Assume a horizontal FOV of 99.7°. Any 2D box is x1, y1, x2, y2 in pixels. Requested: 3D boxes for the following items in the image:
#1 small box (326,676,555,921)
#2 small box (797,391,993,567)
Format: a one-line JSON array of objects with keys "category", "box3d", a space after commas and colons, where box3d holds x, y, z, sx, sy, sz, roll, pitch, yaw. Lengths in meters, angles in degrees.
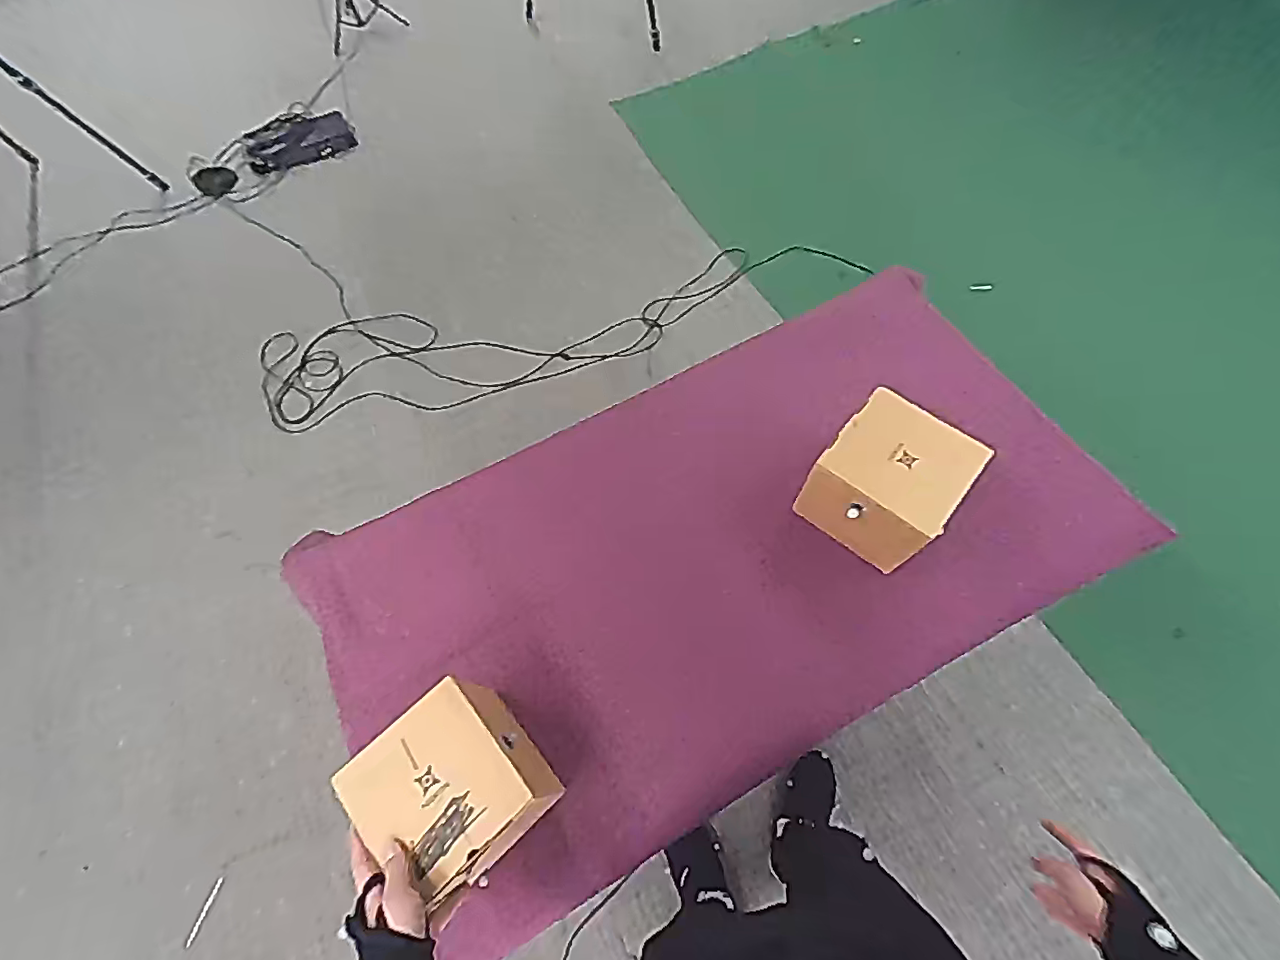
[{"category": "small box", "box3d": [-0.227, 0.369, 0.658, 0.168, 0.176, 0.179, -40, 66, -15]}, {"category": "small box", "box3d": [0.360, 0.009, 0.797, 0.179, 0.176, 0.168, 37, 73, 20]}]
